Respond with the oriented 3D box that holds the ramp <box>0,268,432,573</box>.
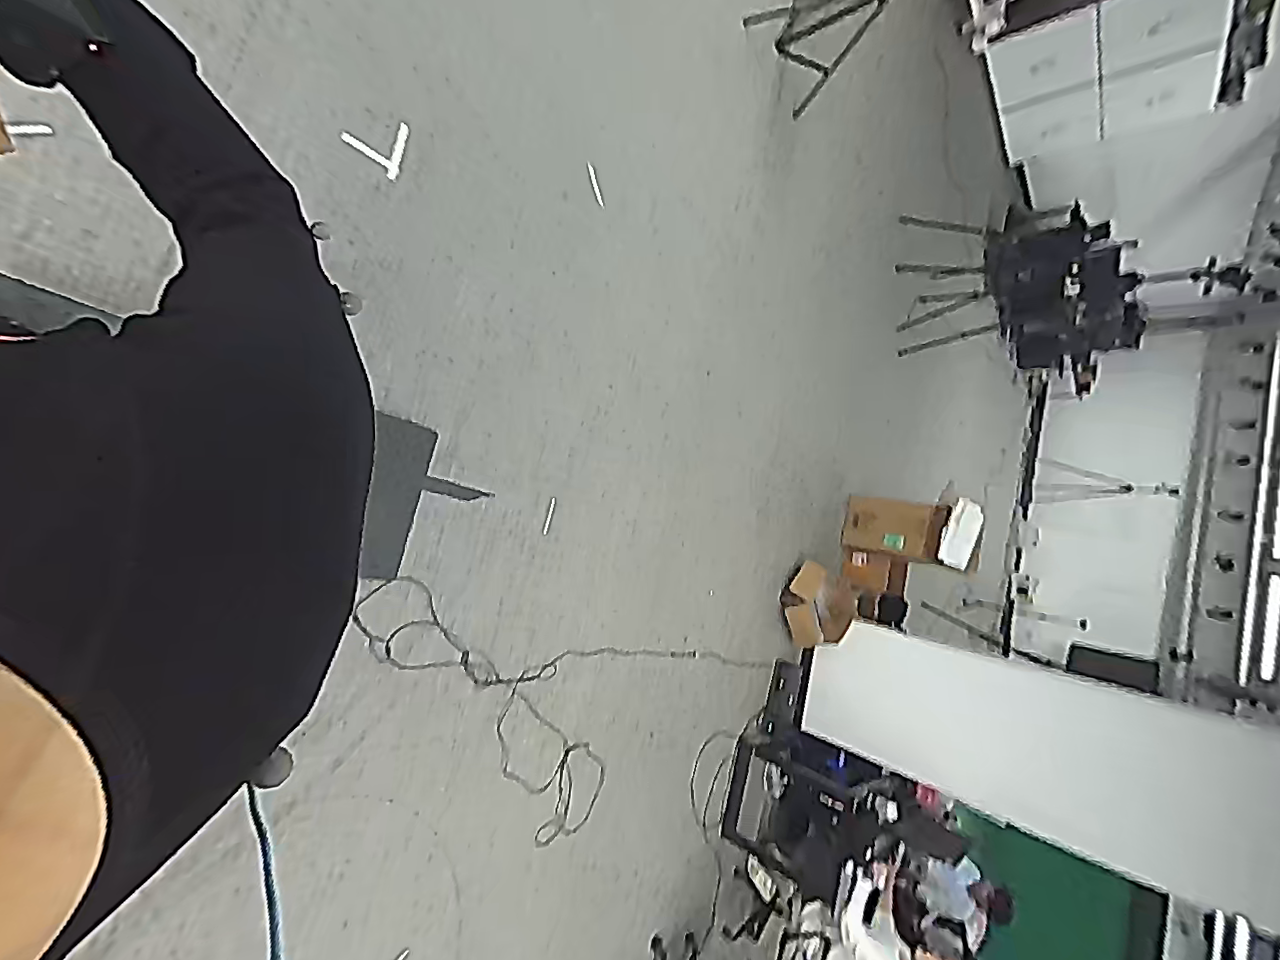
[{"bbox_3d":[-0.978,-0.051,1.307,0.991,0.206,0.509,18,81,-47],"label":"ramp"}]
